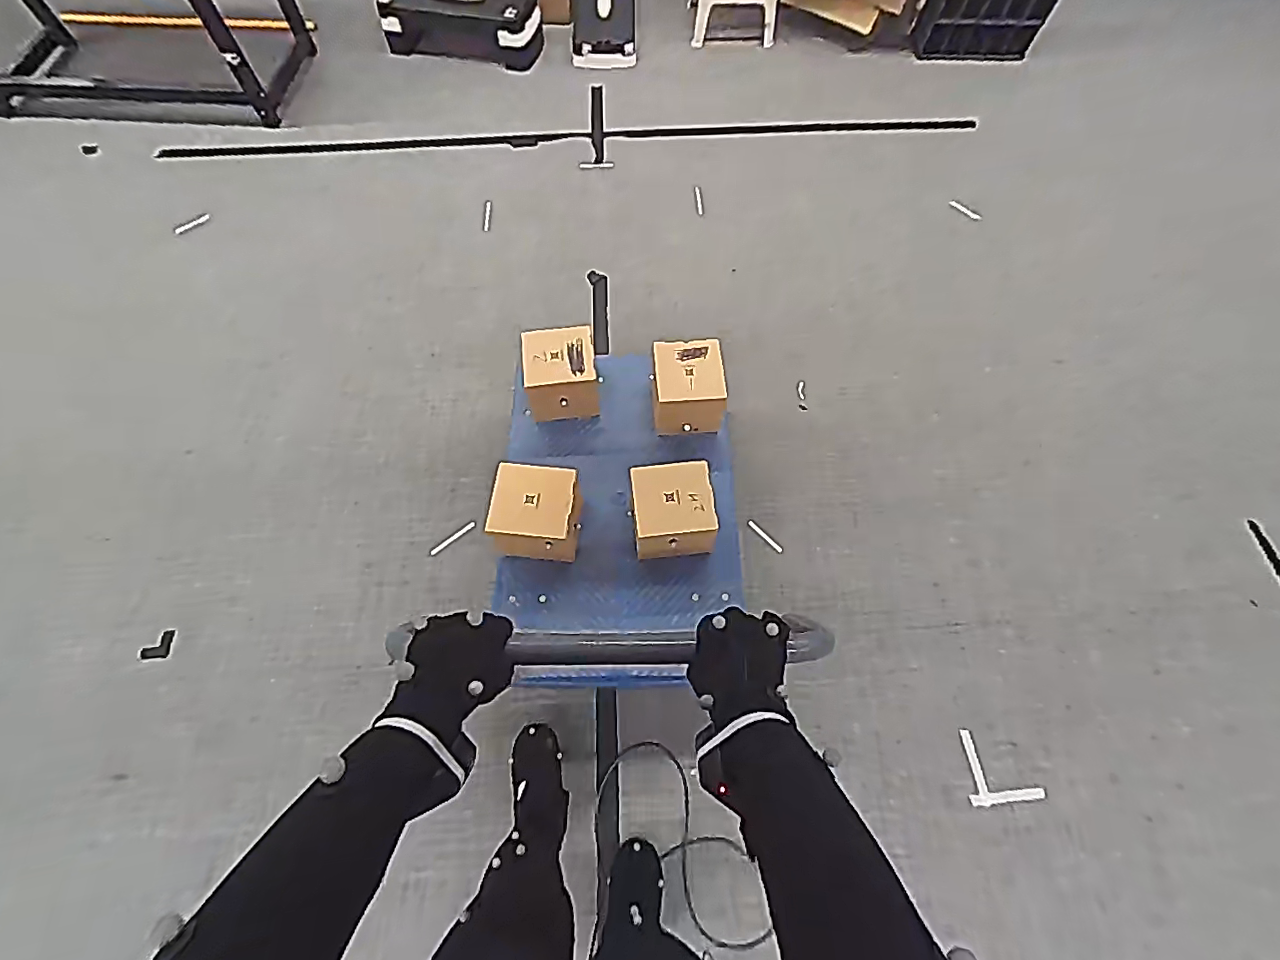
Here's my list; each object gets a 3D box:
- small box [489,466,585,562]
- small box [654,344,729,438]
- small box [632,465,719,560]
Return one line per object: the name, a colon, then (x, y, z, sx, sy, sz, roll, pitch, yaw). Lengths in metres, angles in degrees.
small box: (-0.229, 0.083, 1.246, 0.179, 0.176, 0.168, 6, 65, 1)
small box: (0.126, -0.224, 1.386, 0.168, 0.176, 0.179, -3, 67, -2)
small box: (0.076, 0.081, 1.249, 0.179, 0.176, 0.168, -5, 66, -3)
